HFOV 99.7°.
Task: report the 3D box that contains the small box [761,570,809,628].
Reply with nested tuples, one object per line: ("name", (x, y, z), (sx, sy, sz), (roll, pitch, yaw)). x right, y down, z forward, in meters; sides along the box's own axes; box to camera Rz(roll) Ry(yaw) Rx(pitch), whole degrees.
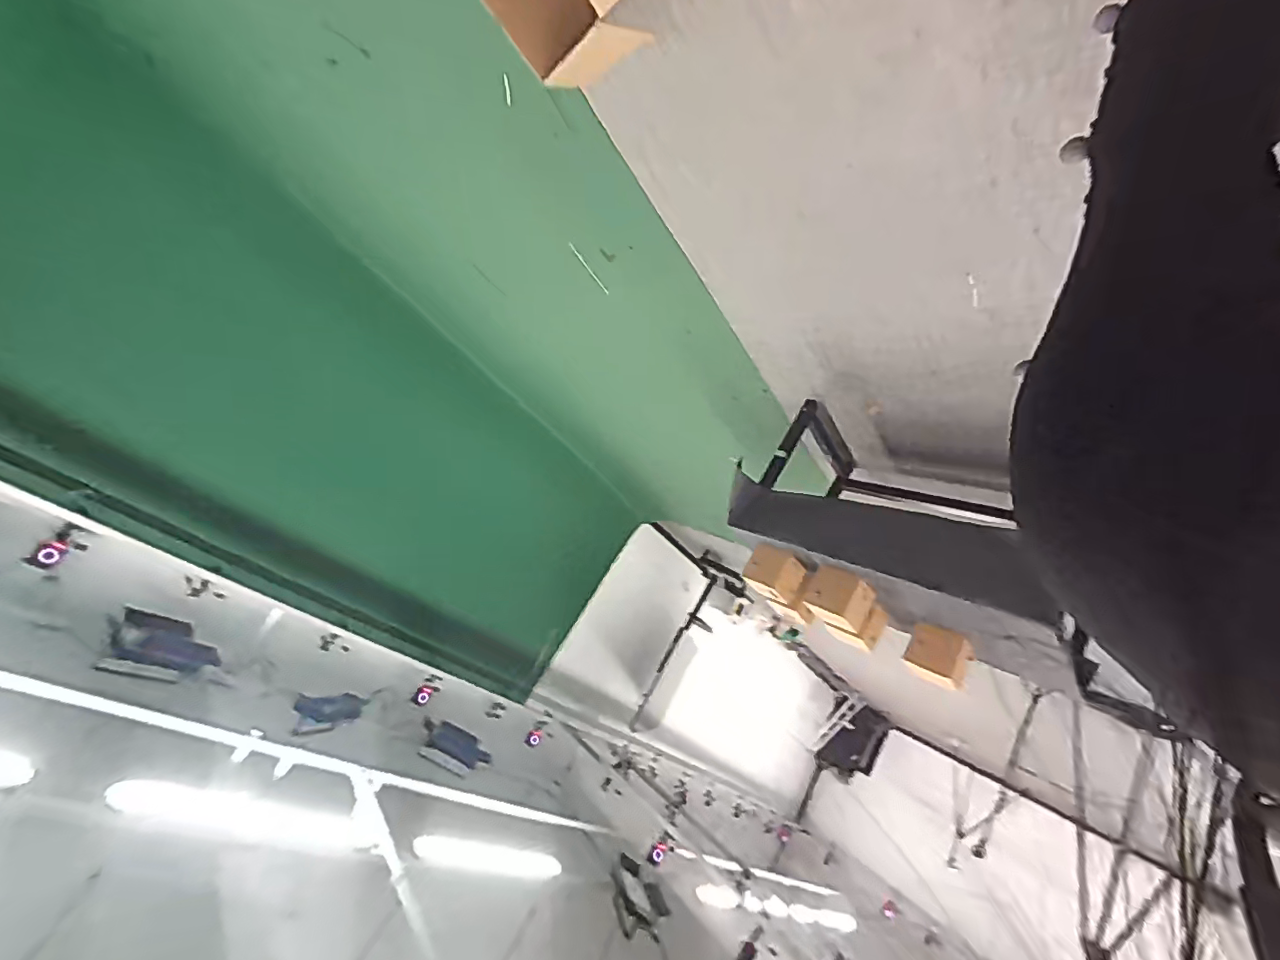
("small box", (0.684, 0.538, 2.453), (0.168, 0.176, 0.179), (17, 157, 45))

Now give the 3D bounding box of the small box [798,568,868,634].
("small box", (0.746, 0.459, 2.085), (0.179, 0.176, 0.168), (15, 158, 47))

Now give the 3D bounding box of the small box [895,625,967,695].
("small box", (1.089, 0.663, 2.019), (0.179, 0.176, 0.168), (19, 159, 47))

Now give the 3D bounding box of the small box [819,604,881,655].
("small box", (0.877, 0.593, 2.244), (0.168, 0.176, 0.179), (17, 158, 45))
